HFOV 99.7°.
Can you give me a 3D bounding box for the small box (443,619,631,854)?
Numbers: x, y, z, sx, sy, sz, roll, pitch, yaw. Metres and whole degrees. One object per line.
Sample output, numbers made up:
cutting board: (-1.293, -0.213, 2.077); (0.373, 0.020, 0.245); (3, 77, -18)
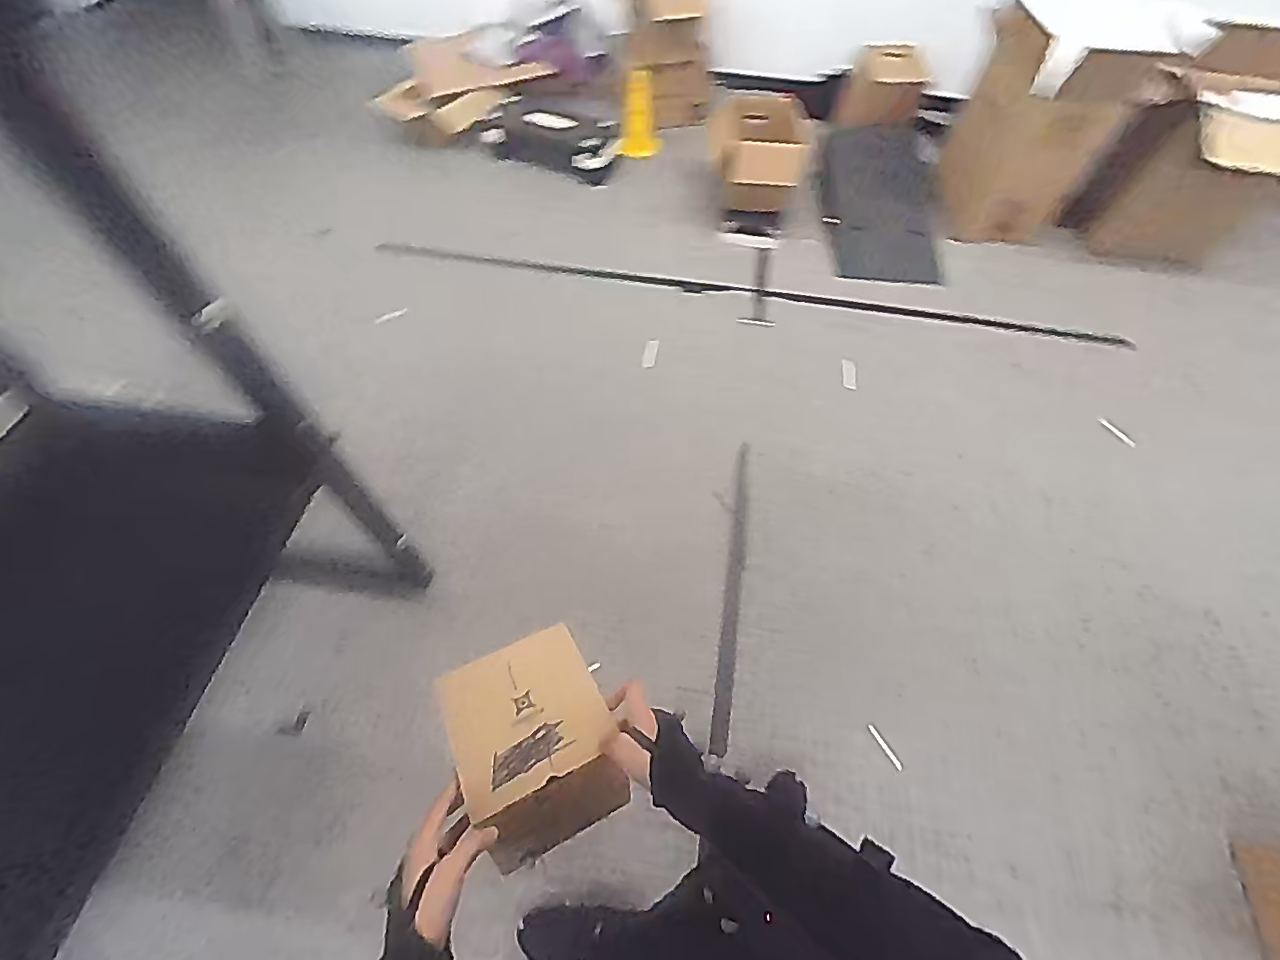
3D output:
small box: (-0.117, 0.308, 0.646); (0.168, 0.176, 0.179); (-19, 44, -21)
